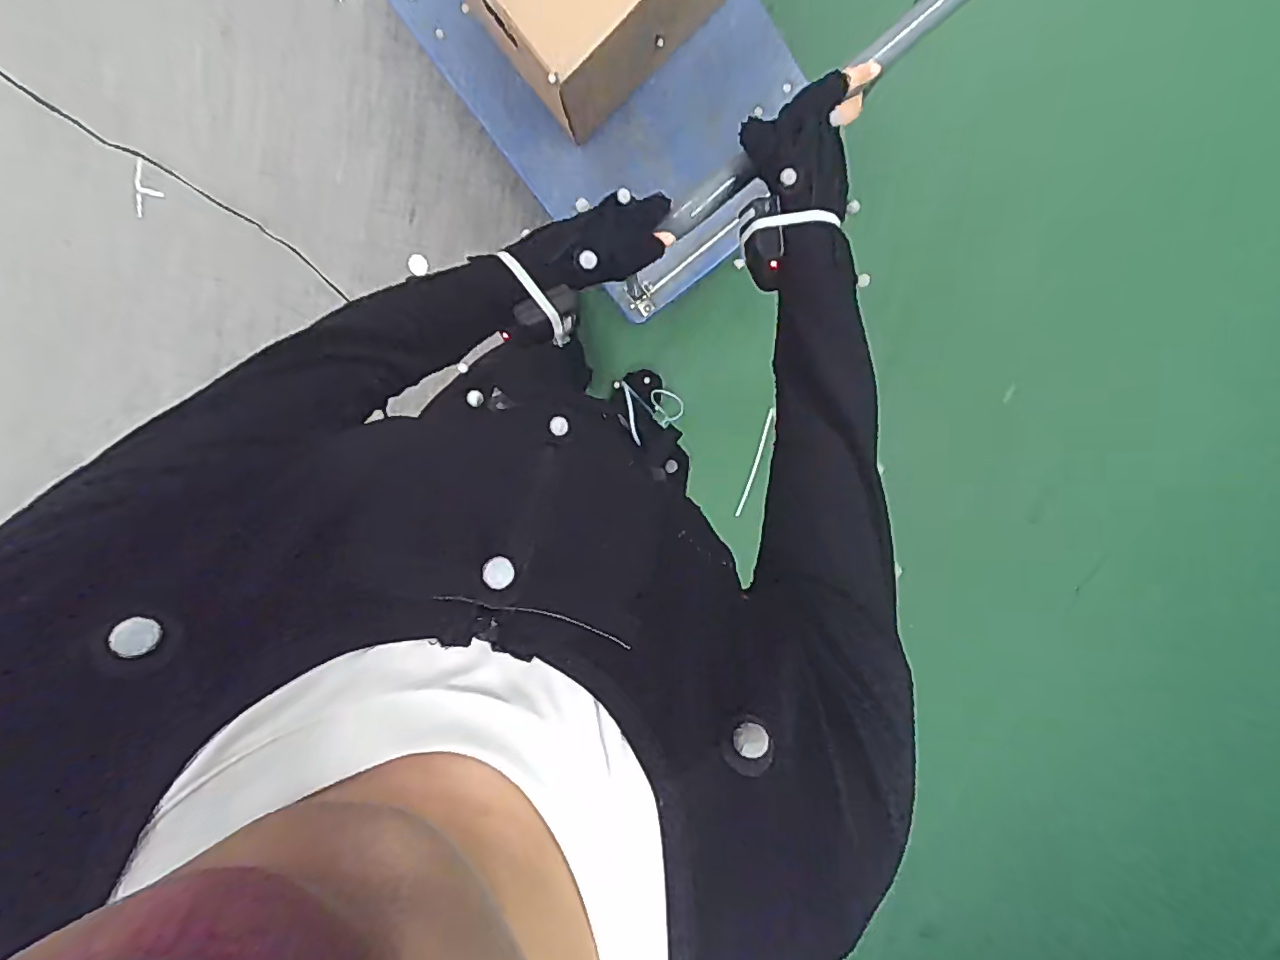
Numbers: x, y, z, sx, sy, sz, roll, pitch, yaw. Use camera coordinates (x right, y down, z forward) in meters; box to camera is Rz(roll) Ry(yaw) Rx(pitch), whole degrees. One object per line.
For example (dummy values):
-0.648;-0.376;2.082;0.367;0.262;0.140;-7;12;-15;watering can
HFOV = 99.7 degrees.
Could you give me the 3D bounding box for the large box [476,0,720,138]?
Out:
-0.063;-0.894;0.910;0.408;0.320;0.320;-40;102;11;large box
